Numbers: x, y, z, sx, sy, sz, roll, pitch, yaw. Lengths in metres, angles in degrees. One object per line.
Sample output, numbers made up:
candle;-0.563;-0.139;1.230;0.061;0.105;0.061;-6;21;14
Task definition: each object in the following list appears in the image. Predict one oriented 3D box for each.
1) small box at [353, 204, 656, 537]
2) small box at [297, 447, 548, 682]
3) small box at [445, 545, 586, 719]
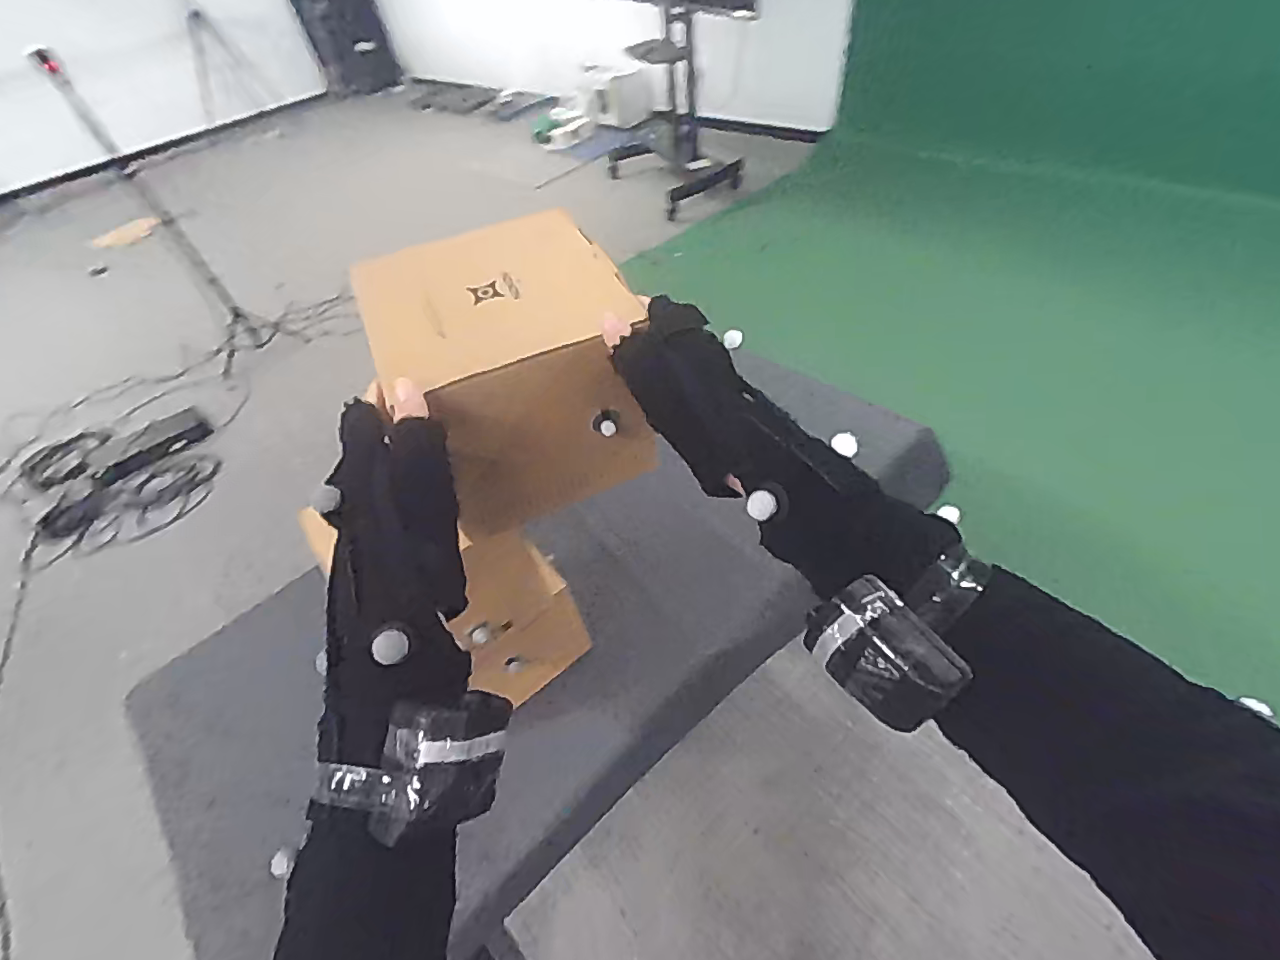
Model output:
small box;-0.097;-0.084;0.439;0.179;0.176;0.168;-23;55;-11
small box;-0.232;0.088;0.601;0.168;0.176;0.179;-39;51;-22
small box;-0.197;0.186;0.730;0.179;0.176;0.168;-36;52;-19
